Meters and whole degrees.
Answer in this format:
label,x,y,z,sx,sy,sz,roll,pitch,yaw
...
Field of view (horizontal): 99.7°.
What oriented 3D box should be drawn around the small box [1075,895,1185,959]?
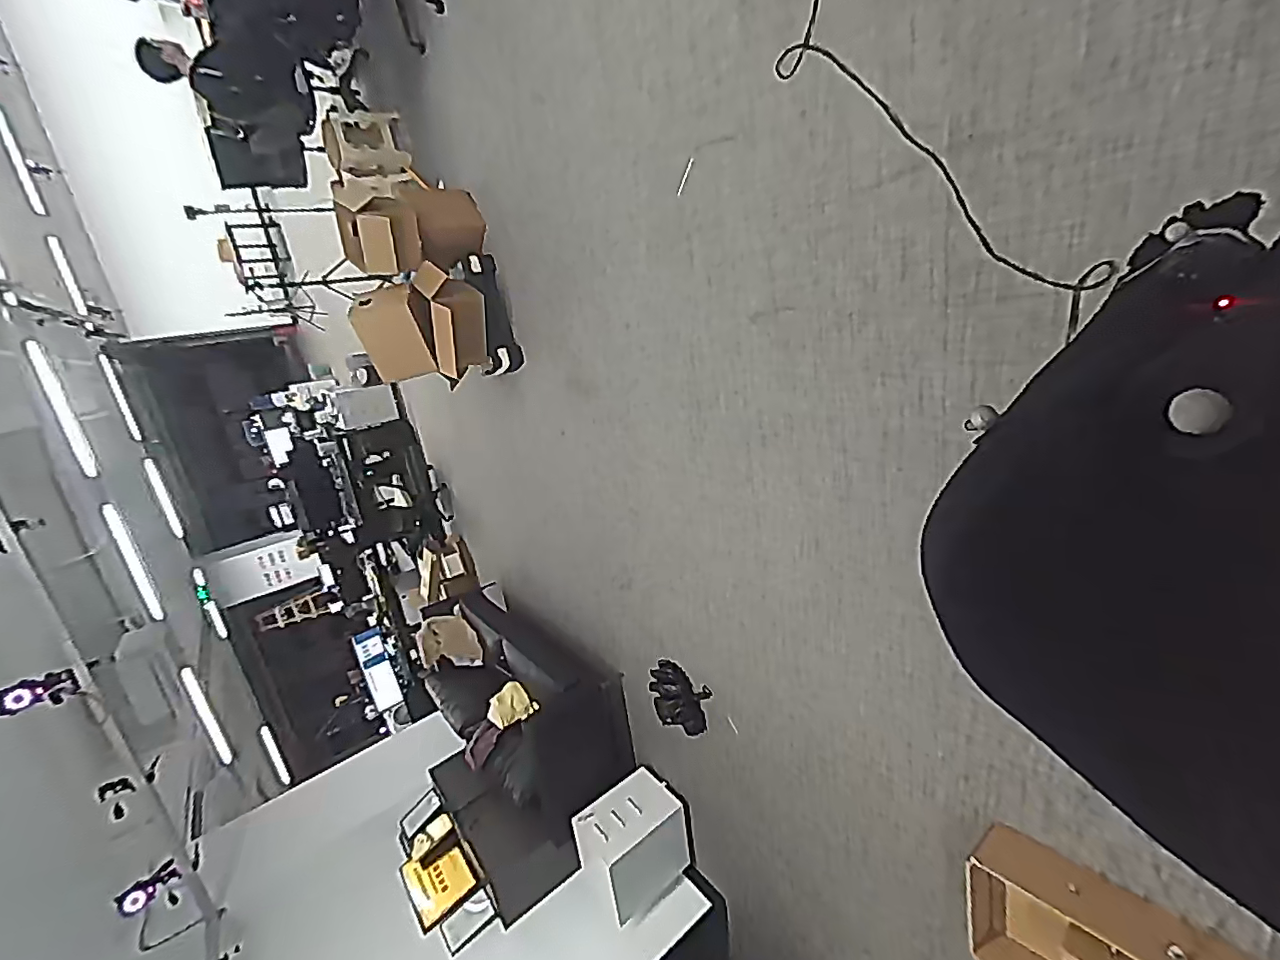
label,x,y,z,sx,sy,sz,roll,pitch,yaw
small box,1.255,1.224,1.391,0.179,0.176,0.168,11,118,52
